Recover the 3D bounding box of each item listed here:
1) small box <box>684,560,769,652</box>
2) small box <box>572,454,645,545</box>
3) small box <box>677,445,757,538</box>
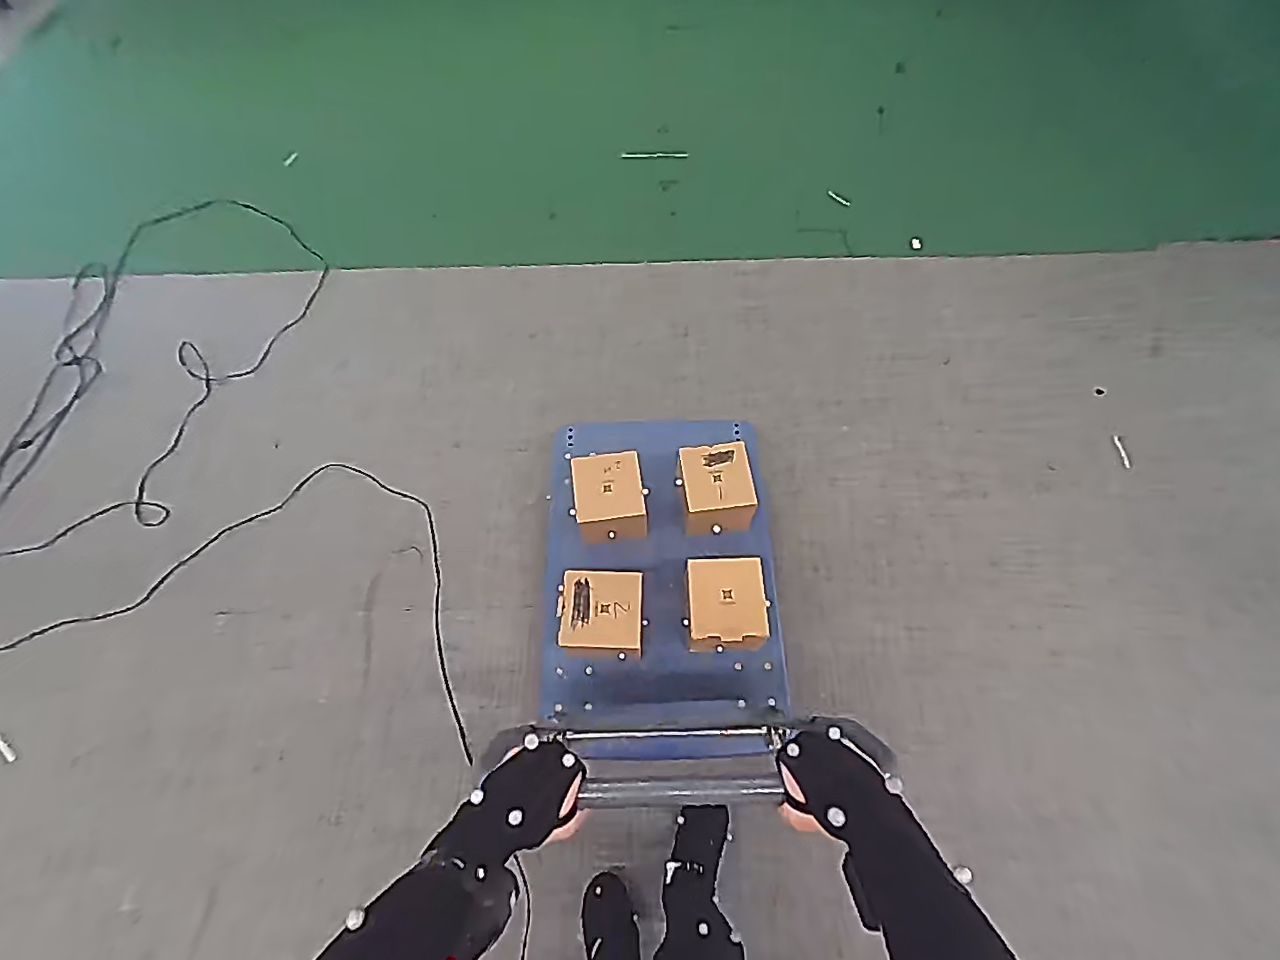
[{"bbox_3d":[0.193,0.295,1.252,0.168,0.176,0.179,-2,64,0],"label":"small box"},{"bbox_3d":[-0.076,0.056,1.372,0.168,0.176,0.179,-7,64,-4],"label":"small box"},{"bbox_3d":[0.189,0.032,1.381,0.168,0.176,0.179,-7,64,-2],"label":"small box"}]
